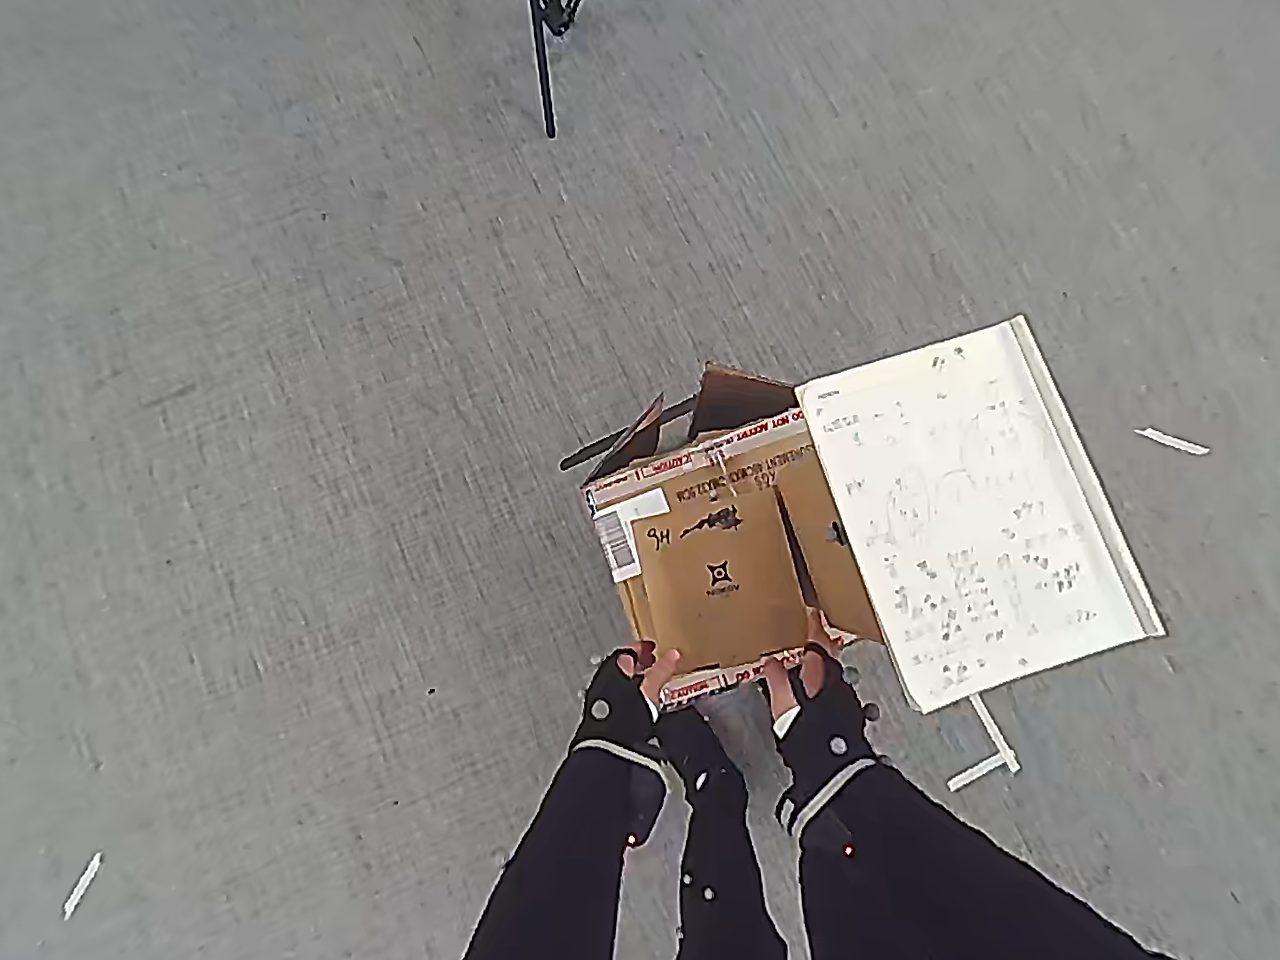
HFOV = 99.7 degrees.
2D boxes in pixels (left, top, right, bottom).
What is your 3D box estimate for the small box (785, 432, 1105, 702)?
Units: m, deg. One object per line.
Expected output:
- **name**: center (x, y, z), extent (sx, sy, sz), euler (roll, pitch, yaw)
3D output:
- **small box**: center (0.254, 0.076, 0.500), extent (0.168, 0.176, 0.179), euler (-17, 83, -3)
